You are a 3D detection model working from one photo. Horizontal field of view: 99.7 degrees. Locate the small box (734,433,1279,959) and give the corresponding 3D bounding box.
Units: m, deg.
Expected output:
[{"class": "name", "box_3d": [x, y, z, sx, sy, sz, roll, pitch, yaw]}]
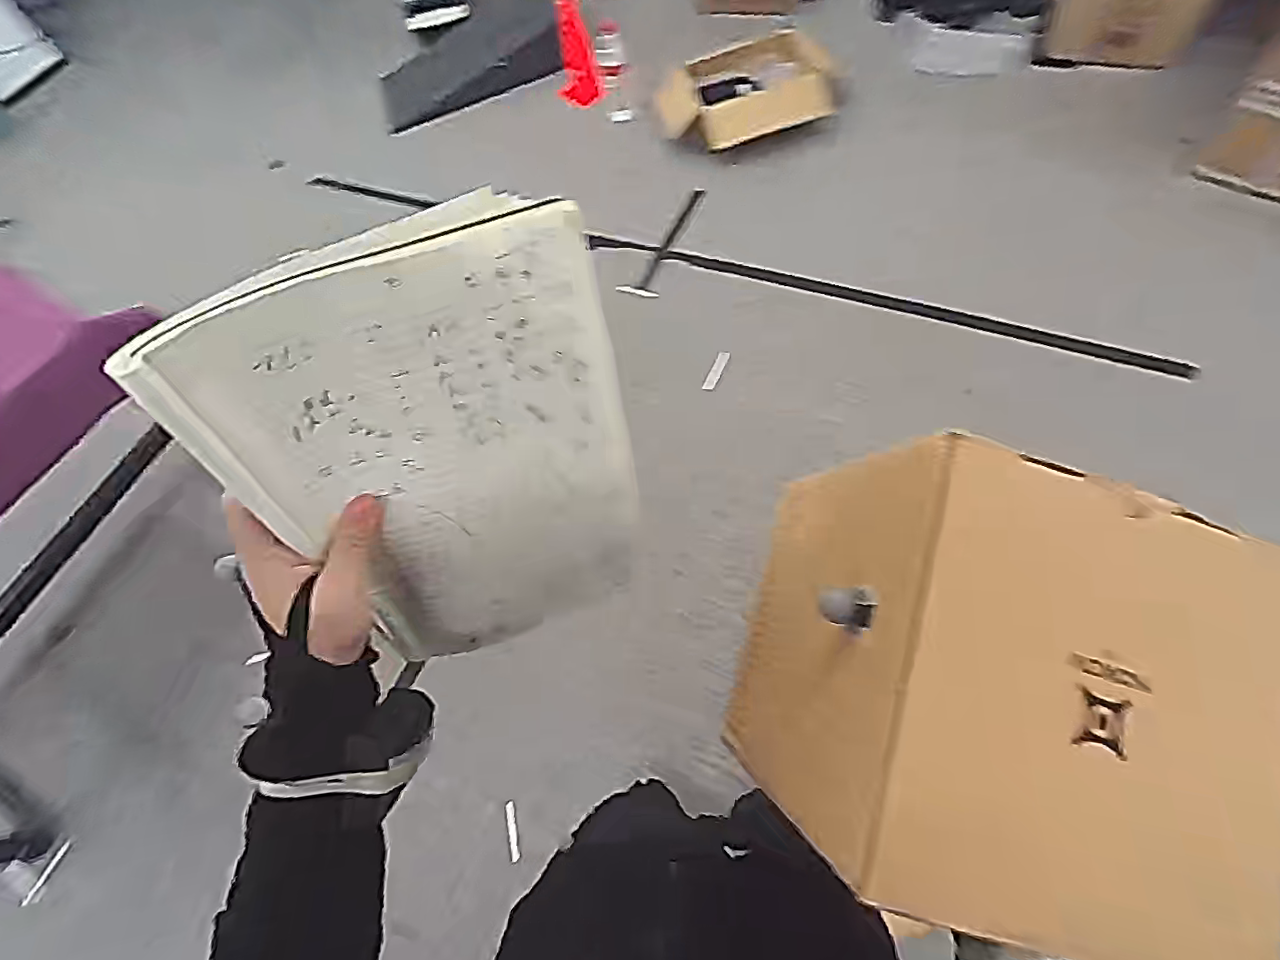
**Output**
[{"class": "small box", "box_3d": [0.162, 0.100, 0.282, 0.168, 0.176, 0.179, 18, 78, -5]}]
